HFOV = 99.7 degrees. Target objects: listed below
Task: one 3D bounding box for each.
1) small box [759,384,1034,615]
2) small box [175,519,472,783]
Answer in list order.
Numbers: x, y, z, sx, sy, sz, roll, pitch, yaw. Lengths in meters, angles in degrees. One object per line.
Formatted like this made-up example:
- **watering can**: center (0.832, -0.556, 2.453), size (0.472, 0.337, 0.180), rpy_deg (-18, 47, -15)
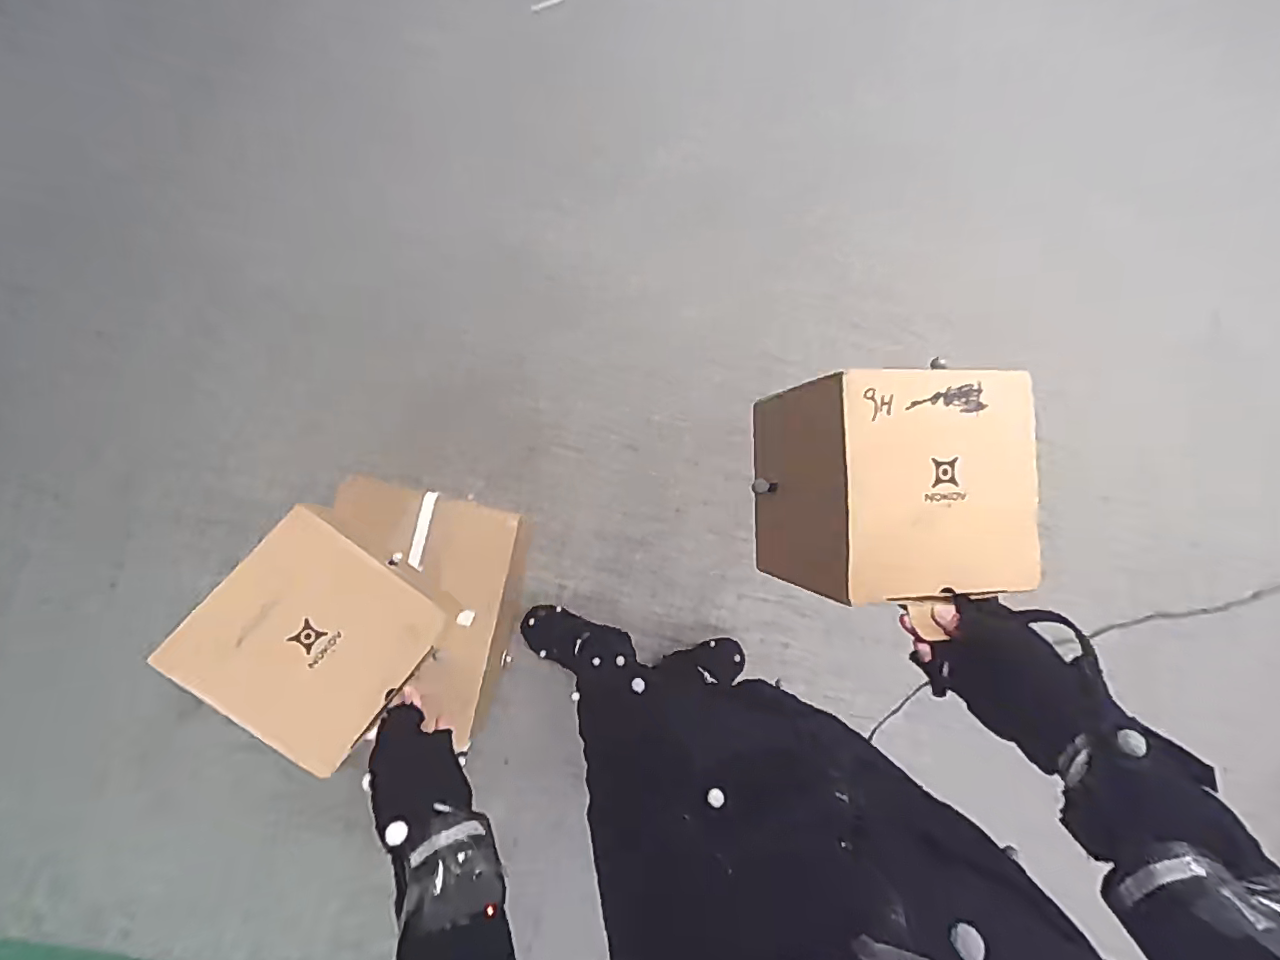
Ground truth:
- **small box**: center (0.217, 0.012, 0.496), size (0.168, 0.176, 0.179), rpy_deg (-2, 91, -11)
- **small box**: center (-0.291, 0.158, 0.552), size (0.179, 0.176, 0.168), rpy_deg (39, 74, -6)
